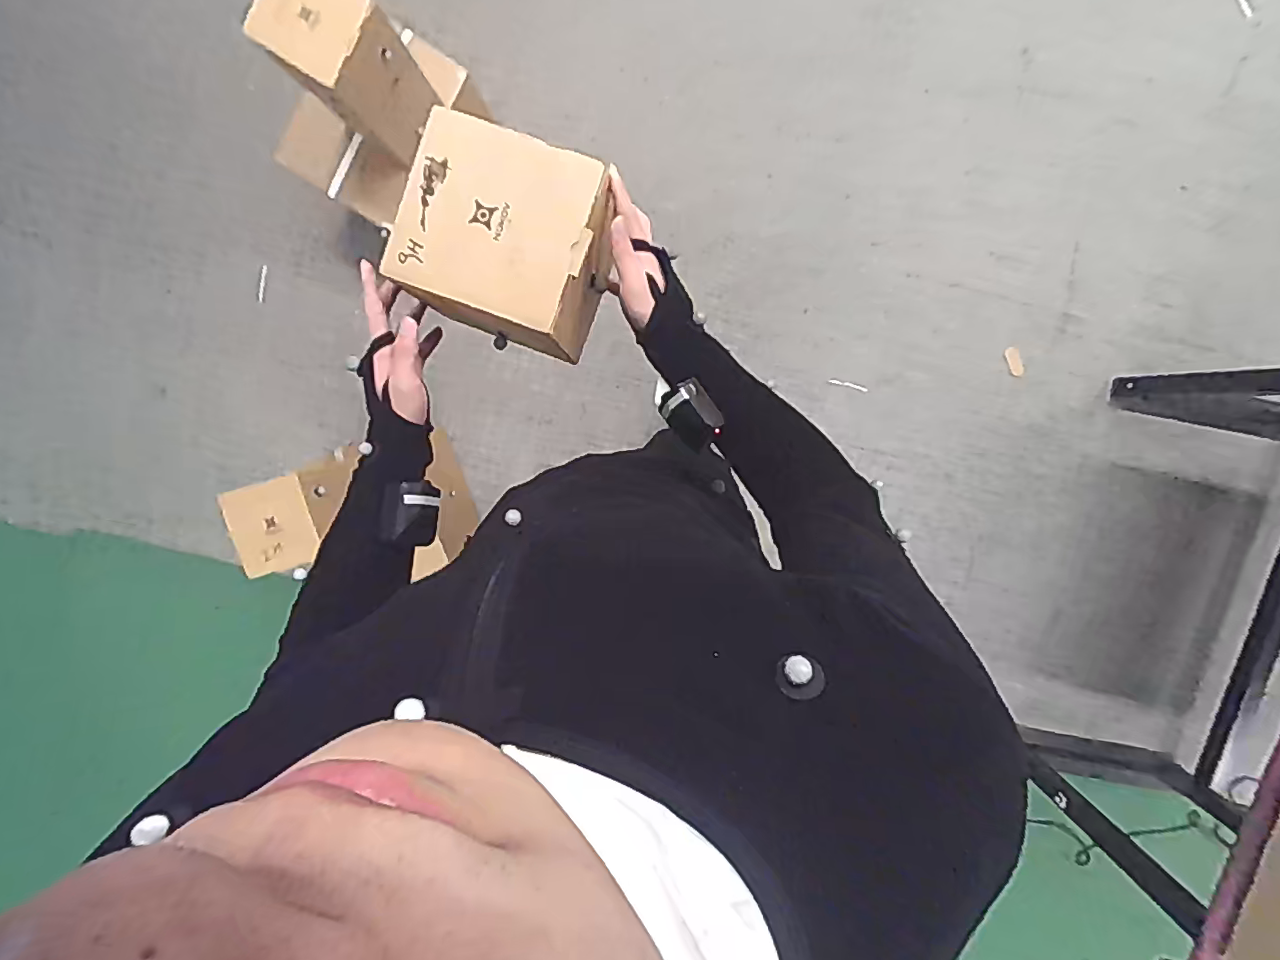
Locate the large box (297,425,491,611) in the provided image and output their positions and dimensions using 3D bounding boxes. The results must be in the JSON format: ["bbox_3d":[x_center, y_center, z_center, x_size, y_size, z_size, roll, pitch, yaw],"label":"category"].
[{"bbox_3d":[-0.676,0.089,1.527,0.320,0.320,0.408,-20,98,6],"label":"large box"}]

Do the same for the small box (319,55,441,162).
[{"bbox_3d":[-0.562,-0.823,1.150,0.179,0.176,0.168,33,98,-5],"label":"small box"}]

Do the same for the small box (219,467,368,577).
[{"bbox_3d":[-0.699,0.076,1.111,0.168,0.176,0.179,-15,97,4],"label":"small box"}]

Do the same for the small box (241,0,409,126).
[{"bbox_3d":[-0.560,-0.794,0.989,0.179,0.176,0.168,31,97,-3],"label":"small box"}]
